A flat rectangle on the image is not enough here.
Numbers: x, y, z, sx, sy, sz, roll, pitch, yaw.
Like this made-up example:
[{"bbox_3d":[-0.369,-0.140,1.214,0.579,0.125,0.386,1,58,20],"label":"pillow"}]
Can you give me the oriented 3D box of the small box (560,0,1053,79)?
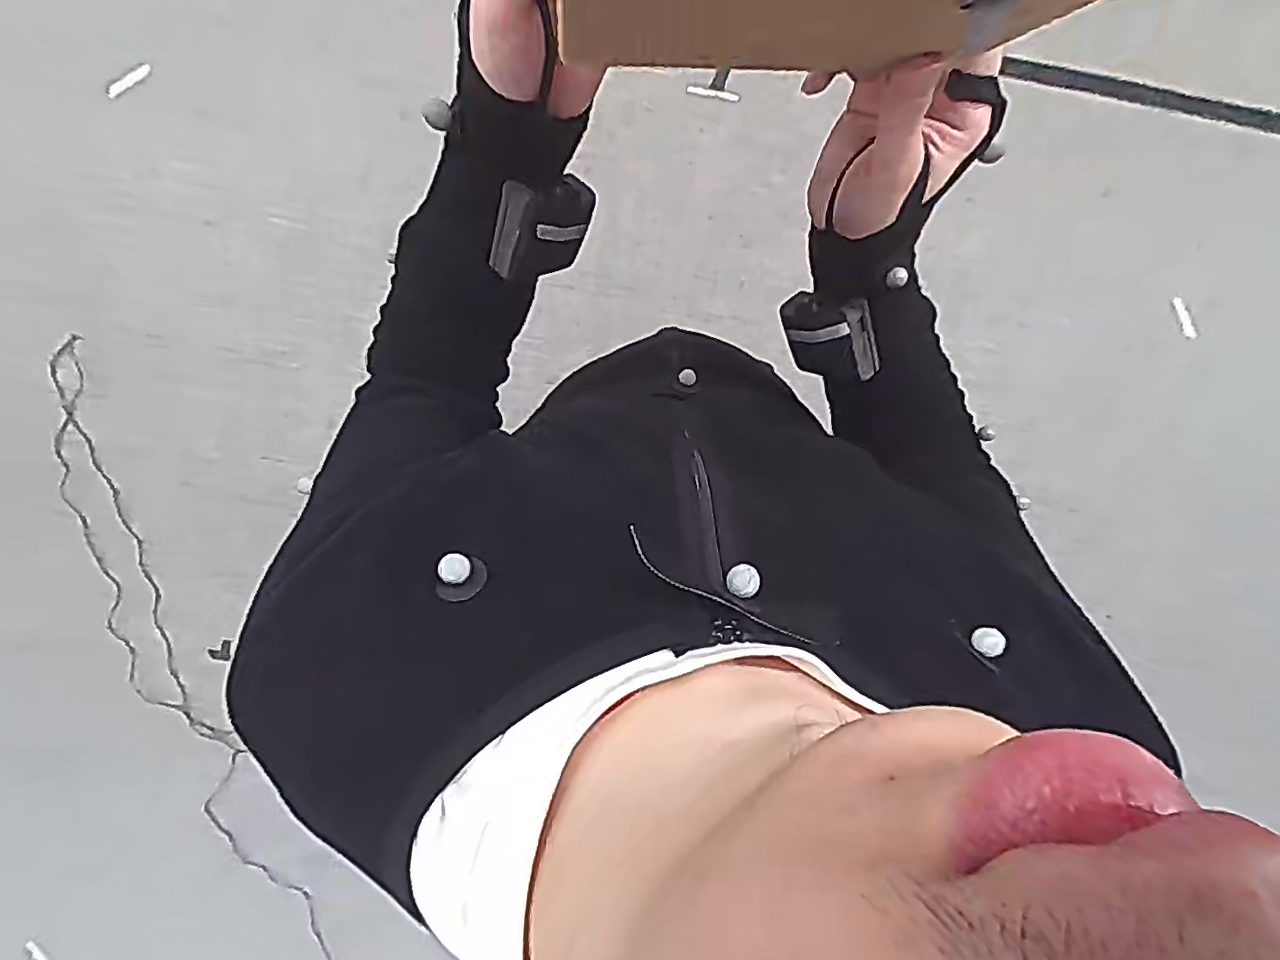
[{"bbox_3d":[0.062,-0.233,0.147,0.179,0.176,0.168,-5,112,-5],"label":"small box"}]
